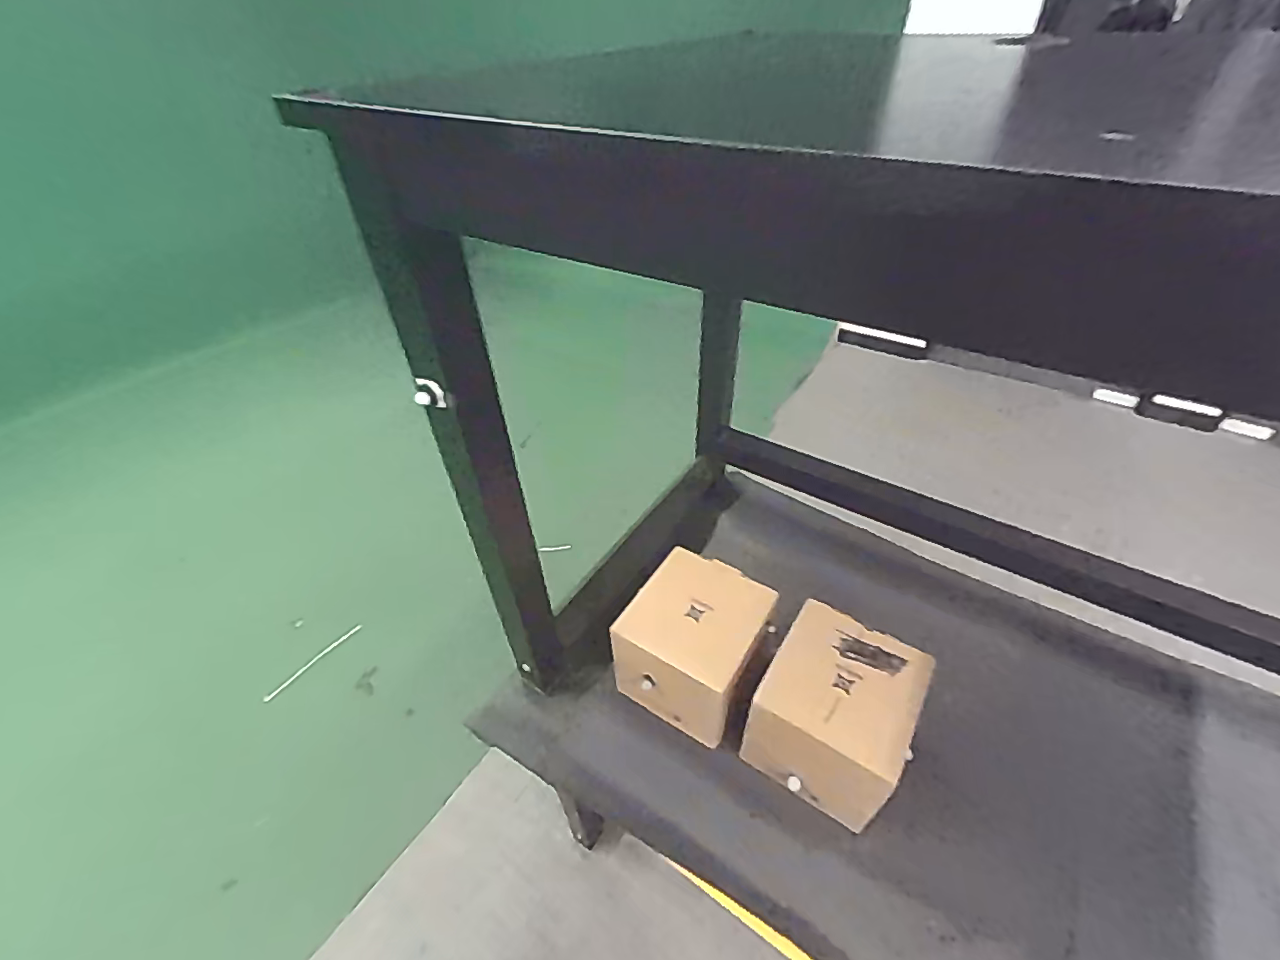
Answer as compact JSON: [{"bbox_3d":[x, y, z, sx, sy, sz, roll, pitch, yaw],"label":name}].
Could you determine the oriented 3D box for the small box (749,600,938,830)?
[{"bbox_3d":[0.250,0.296,0.691,0.168,0.176,0.179,23,48,27],"label":"small box"}]

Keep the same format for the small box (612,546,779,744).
[{"bbox_3d":[0.081,0.235,0.771,0.168,0.176,0.179,23,47,25],"label":"small box"}]
